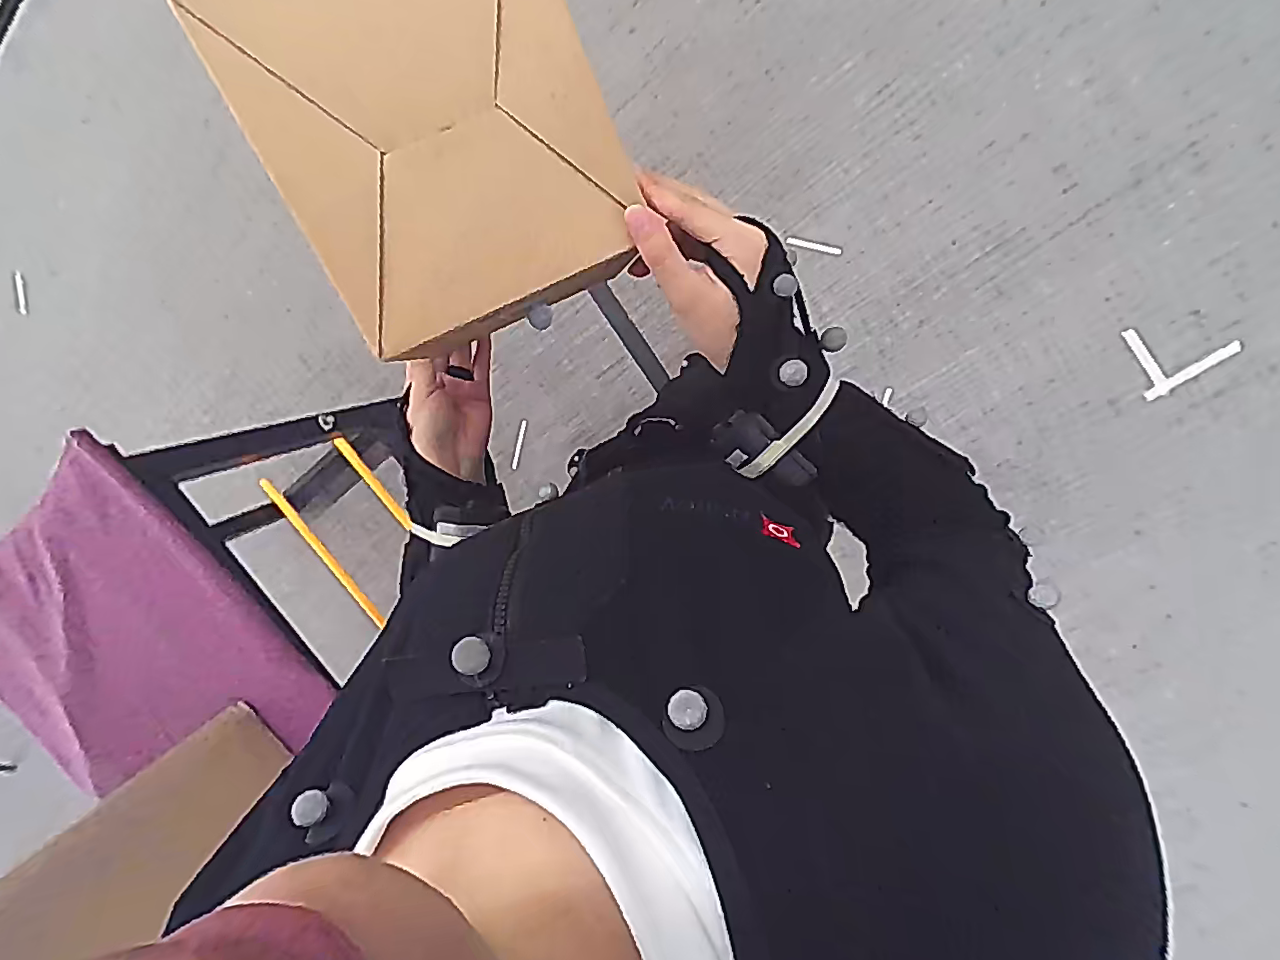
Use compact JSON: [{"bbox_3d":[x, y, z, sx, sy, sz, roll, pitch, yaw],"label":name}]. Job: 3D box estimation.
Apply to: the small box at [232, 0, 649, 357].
[{"bbox_3d":[-0.107,-0.192,0.344,0.168,0.176,0.179,-25,106,-4],"label":"small box"}]
